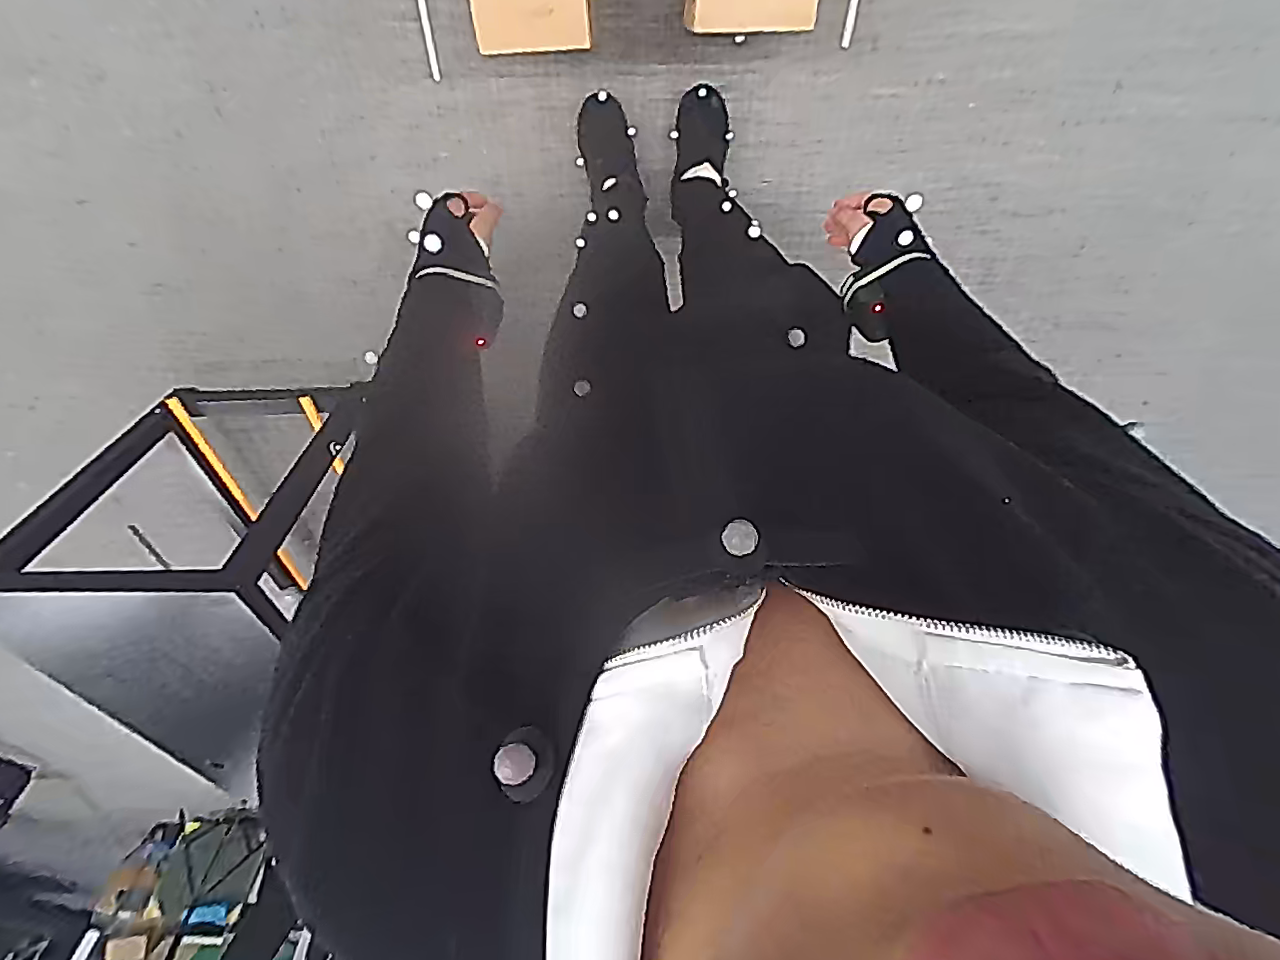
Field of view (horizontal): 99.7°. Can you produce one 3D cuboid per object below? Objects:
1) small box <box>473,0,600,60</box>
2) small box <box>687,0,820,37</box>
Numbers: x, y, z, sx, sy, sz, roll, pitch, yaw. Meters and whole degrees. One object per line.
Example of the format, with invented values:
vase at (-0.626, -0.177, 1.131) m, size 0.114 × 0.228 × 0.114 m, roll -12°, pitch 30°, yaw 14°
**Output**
small box at (-0.152, -0.739, 0.793) m, size 0.168 × 0.176 × 0.179 m, roll -2°, pitch 134°, yaw 3°
small box at (0.163, -0.752, 0.782) m, size 0.179 × 0.176 × 0.168 m, roll -1°, pitch 133°, yaw -1°
